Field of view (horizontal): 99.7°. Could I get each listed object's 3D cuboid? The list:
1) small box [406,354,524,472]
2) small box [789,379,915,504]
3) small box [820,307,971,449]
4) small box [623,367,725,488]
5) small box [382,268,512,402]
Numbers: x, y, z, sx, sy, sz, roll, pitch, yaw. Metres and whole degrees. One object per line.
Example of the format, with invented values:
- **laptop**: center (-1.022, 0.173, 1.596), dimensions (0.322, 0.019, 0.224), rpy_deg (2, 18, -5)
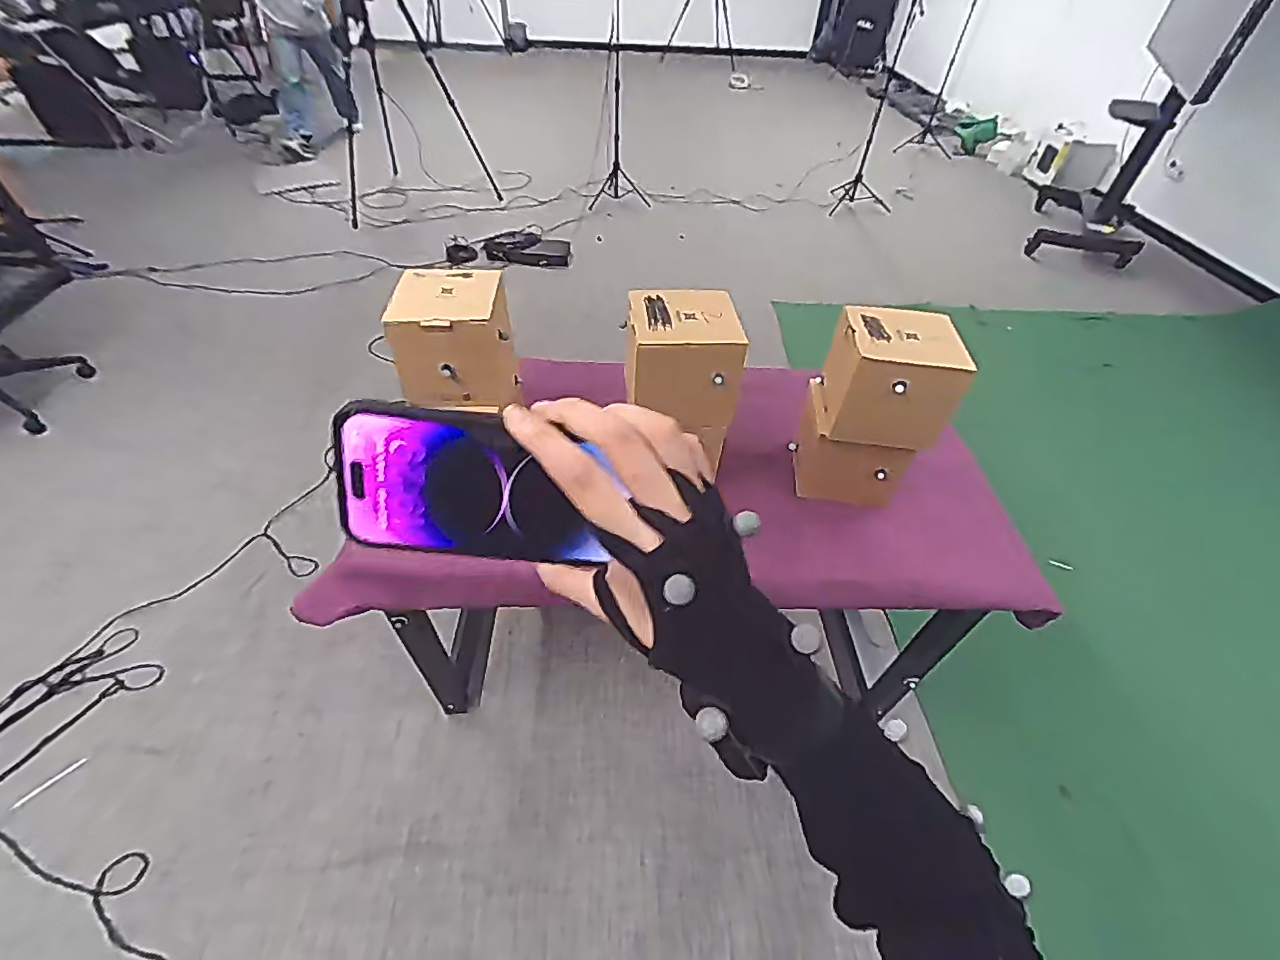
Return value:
- **small box**: center (-0.330, -0.132, 1.061), dimensions (0.168, 0.176, 0.179), rpy_deg (3, 47, 0)
- **small box**: center (0.399, -0.071, 1.047), dimensions (0.179, 0.176, 0.168), rpy_deg (7, 47, 4)
- **small box**: center (0.414, -0.171, 0.918), dimensions (0.179, 0.176, 0.168), rpy_deg (7, 47, 3)
- **small box**: center (0.060, -0.099, 1.051), dimensions (0.179, 0.176, 0.168), rpy_deg (3, 47, -1)
- **small box**: center (-0.323, -0.250, 0.947), dimensions (0.168, 0.176, 0.179), rpy_deg (0, 48, -4)
